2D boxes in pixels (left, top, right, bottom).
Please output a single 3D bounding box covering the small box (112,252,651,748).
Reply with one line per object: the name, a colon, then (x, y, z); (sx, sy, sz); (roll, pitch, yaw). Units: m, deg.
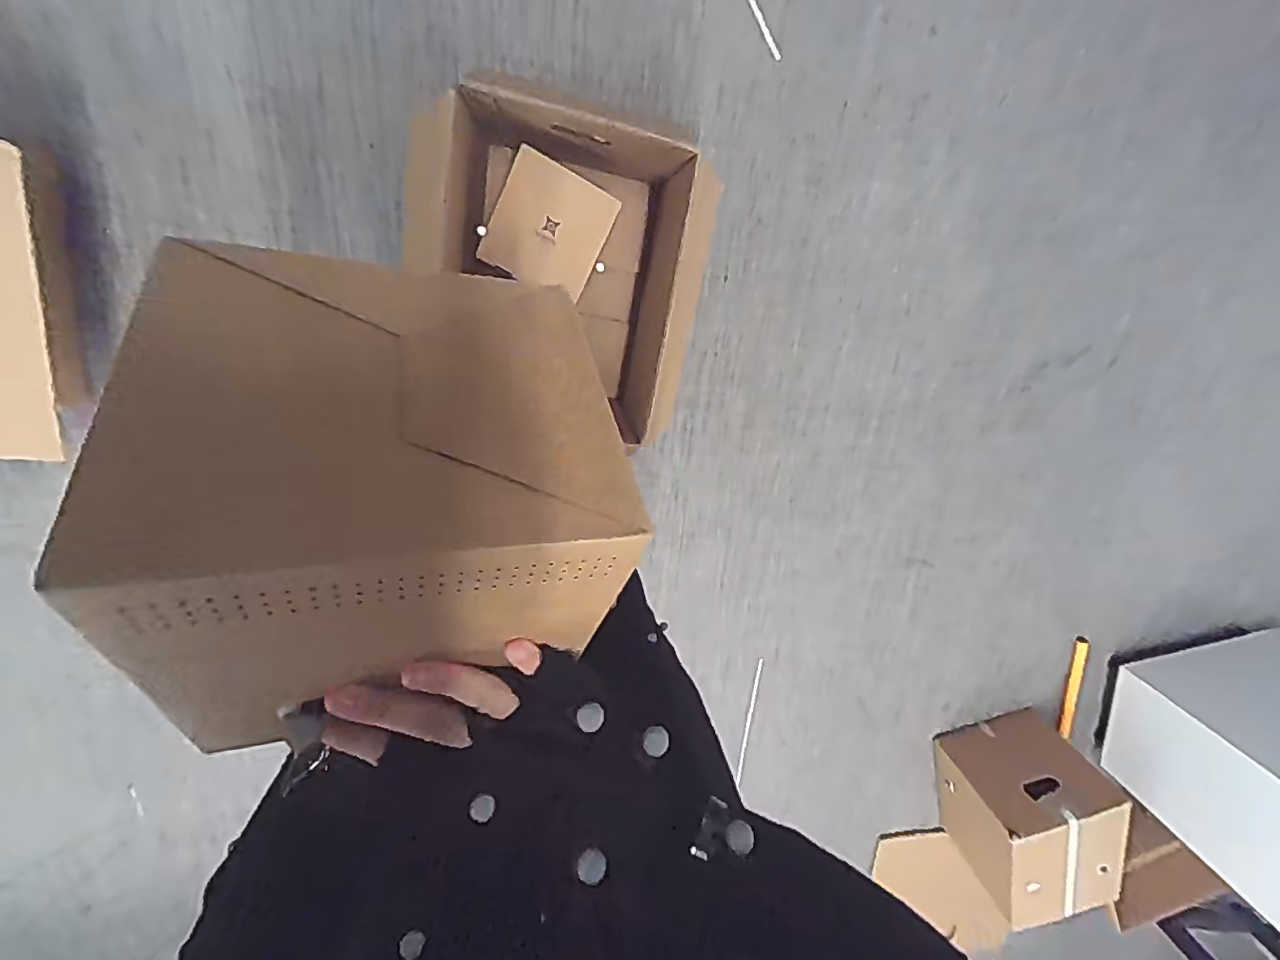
small box: (-0.120, 0.007, 0.273); (0.179, 0.168, 0.176); (-4, 144, -27)
